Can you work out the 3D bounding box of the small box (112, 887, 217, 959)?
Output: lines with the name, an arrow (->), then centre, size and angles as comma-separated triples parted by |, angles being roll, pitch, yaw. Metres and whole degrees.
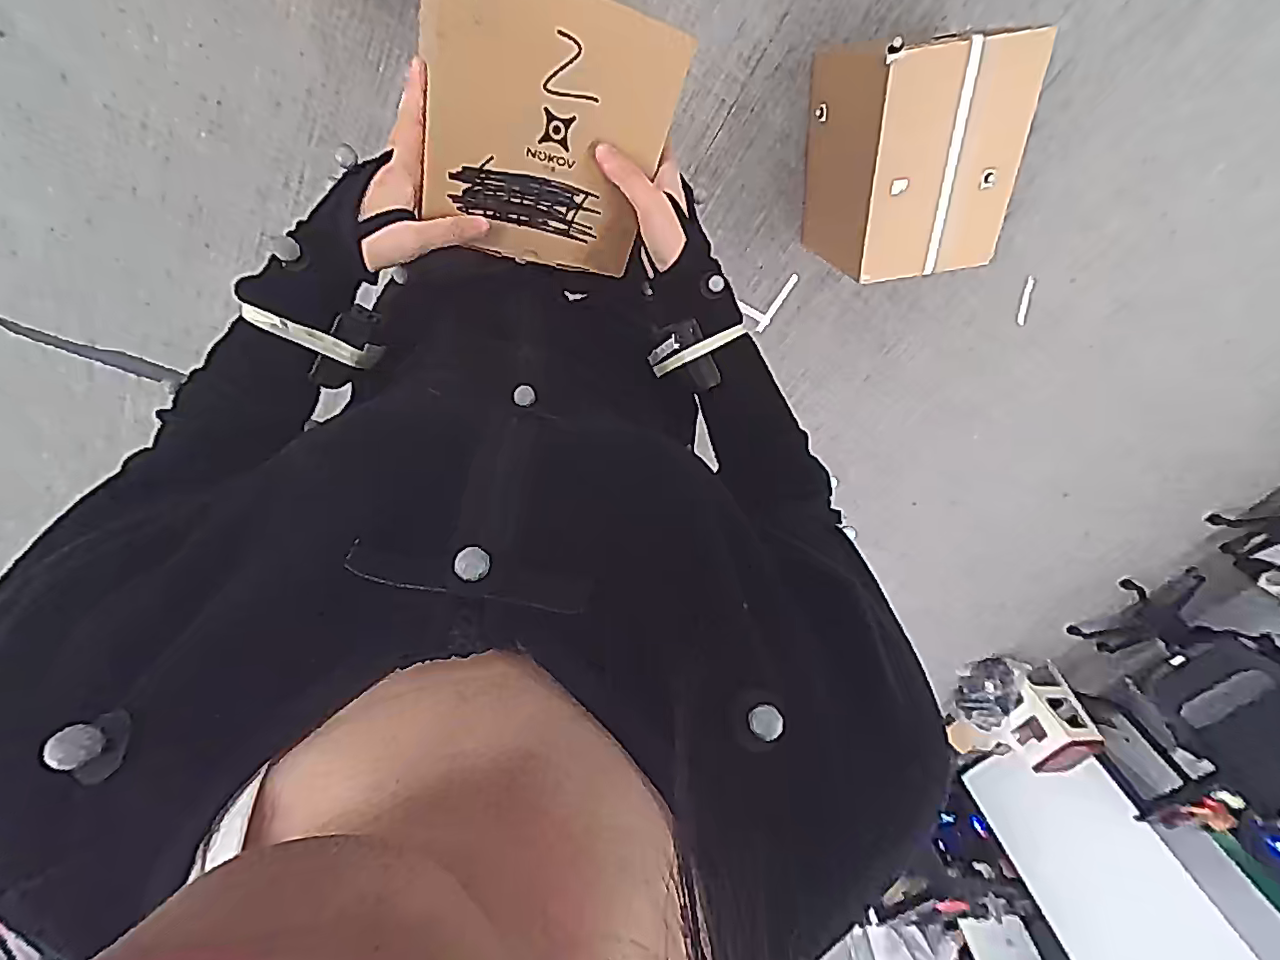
small box -> -1.212, 1.165, 1.370 | 0.168, 0.176, 0.179 | 21, 119, -28
